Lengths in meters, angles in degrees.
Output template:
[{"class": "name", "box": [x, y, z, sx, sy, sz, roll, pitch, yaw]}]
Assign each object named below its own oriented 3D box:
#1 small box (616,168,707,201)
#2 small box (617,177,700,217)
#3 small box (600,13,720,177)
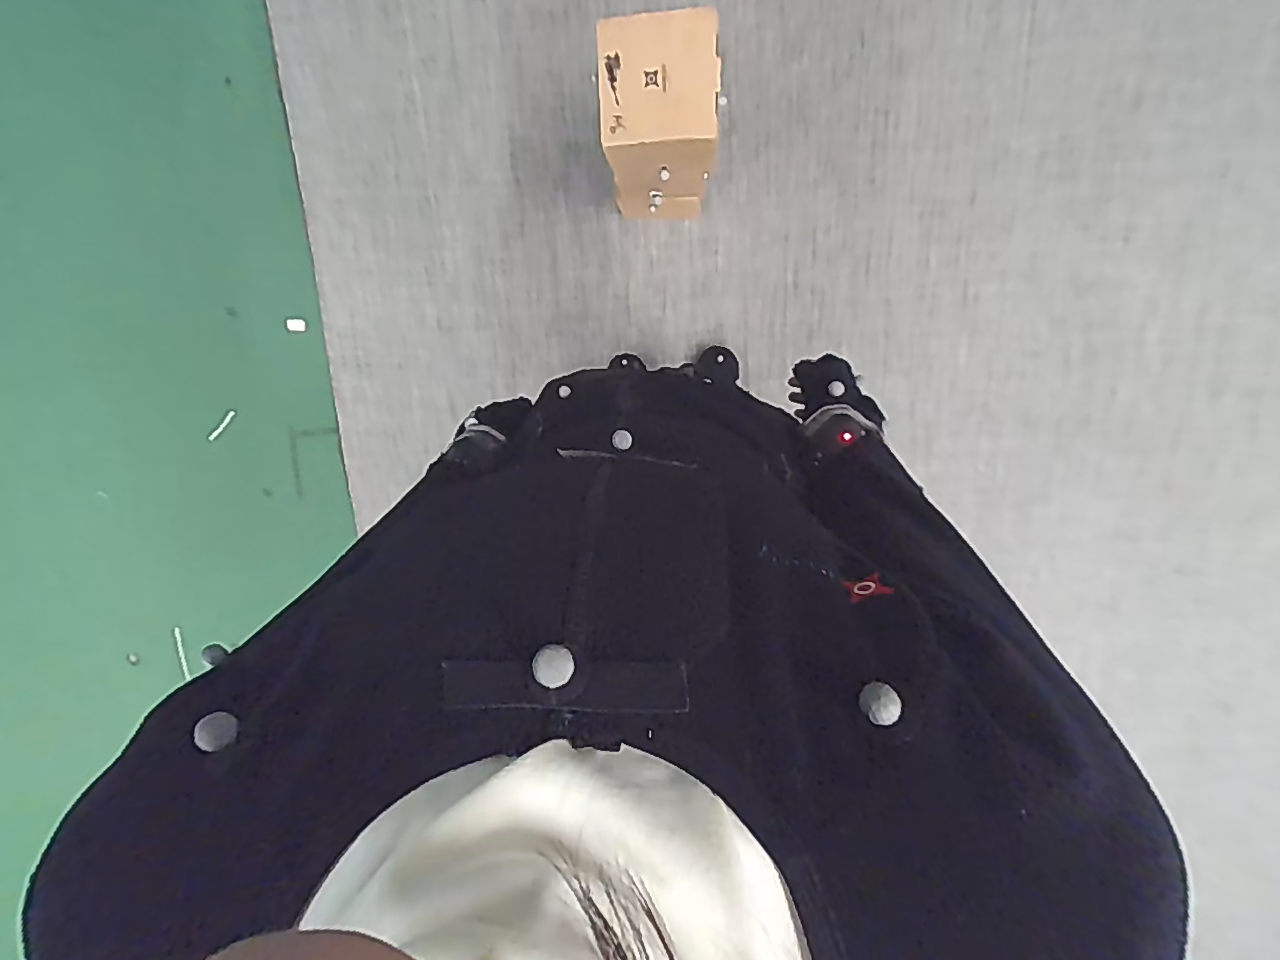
[{"class": "small box", "box": [0.044, -0.649, 1.028, 0.168, 0.176, 0.179, 0, 105, 7]}, {"class": "small box", "box": [0.046, -0.683, 1.185, 0.179, 0.176, 0.168, 1, 105, 5]}, {"class": "small box", "box": [0.036, -0.604, 0.870, 0.179, 0.176, 0.168, 0, 104, 6]}]
